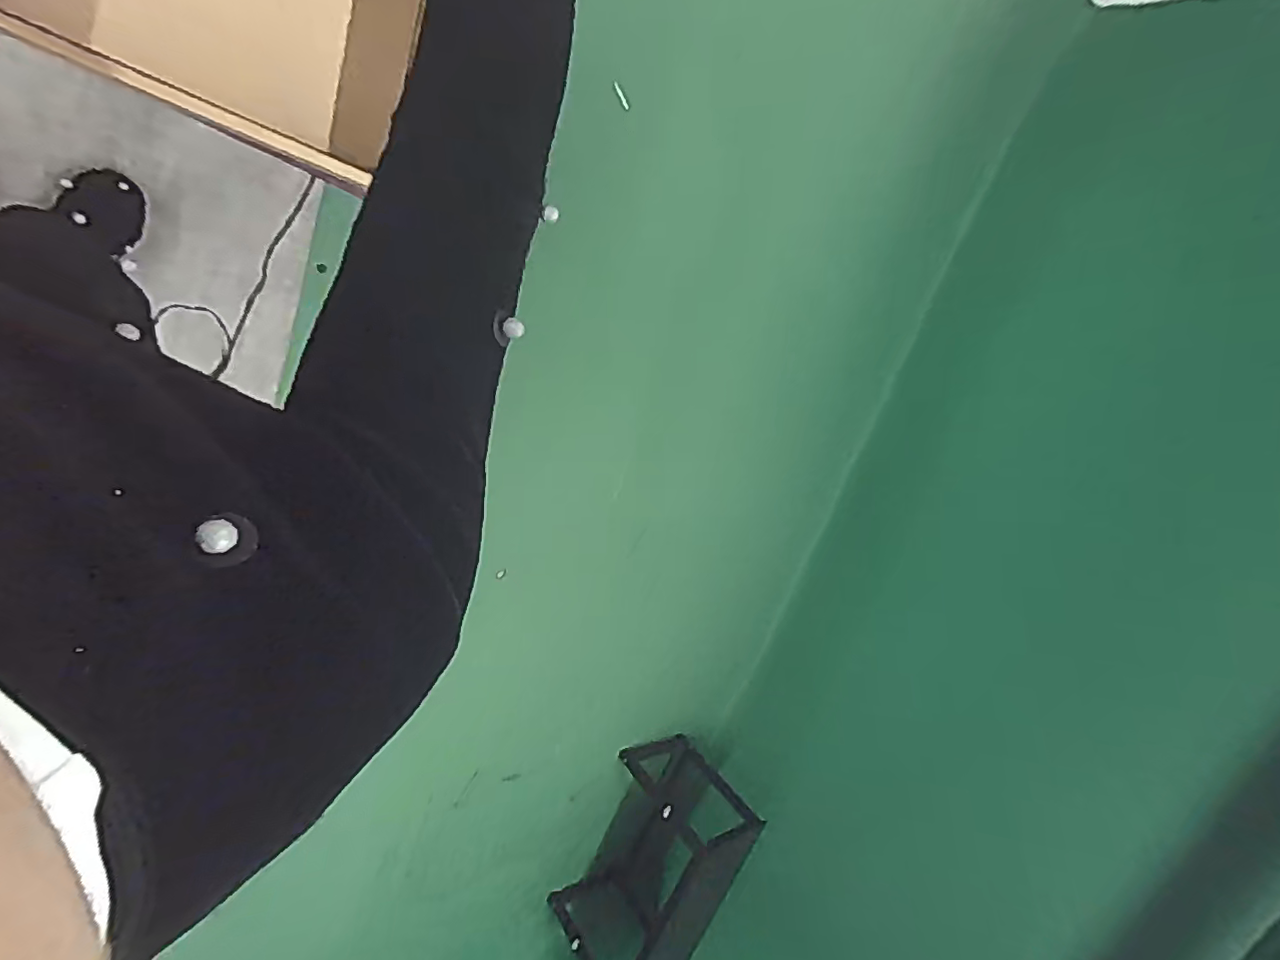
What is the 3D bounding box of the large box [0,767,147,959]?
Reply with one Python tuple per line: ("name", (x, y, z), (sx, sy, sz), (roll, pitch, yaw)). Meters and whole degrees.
("large box", (-1.572, 1.039, 1.361), (0.408, 0.320, 0.320), (-29, 131, -28))
